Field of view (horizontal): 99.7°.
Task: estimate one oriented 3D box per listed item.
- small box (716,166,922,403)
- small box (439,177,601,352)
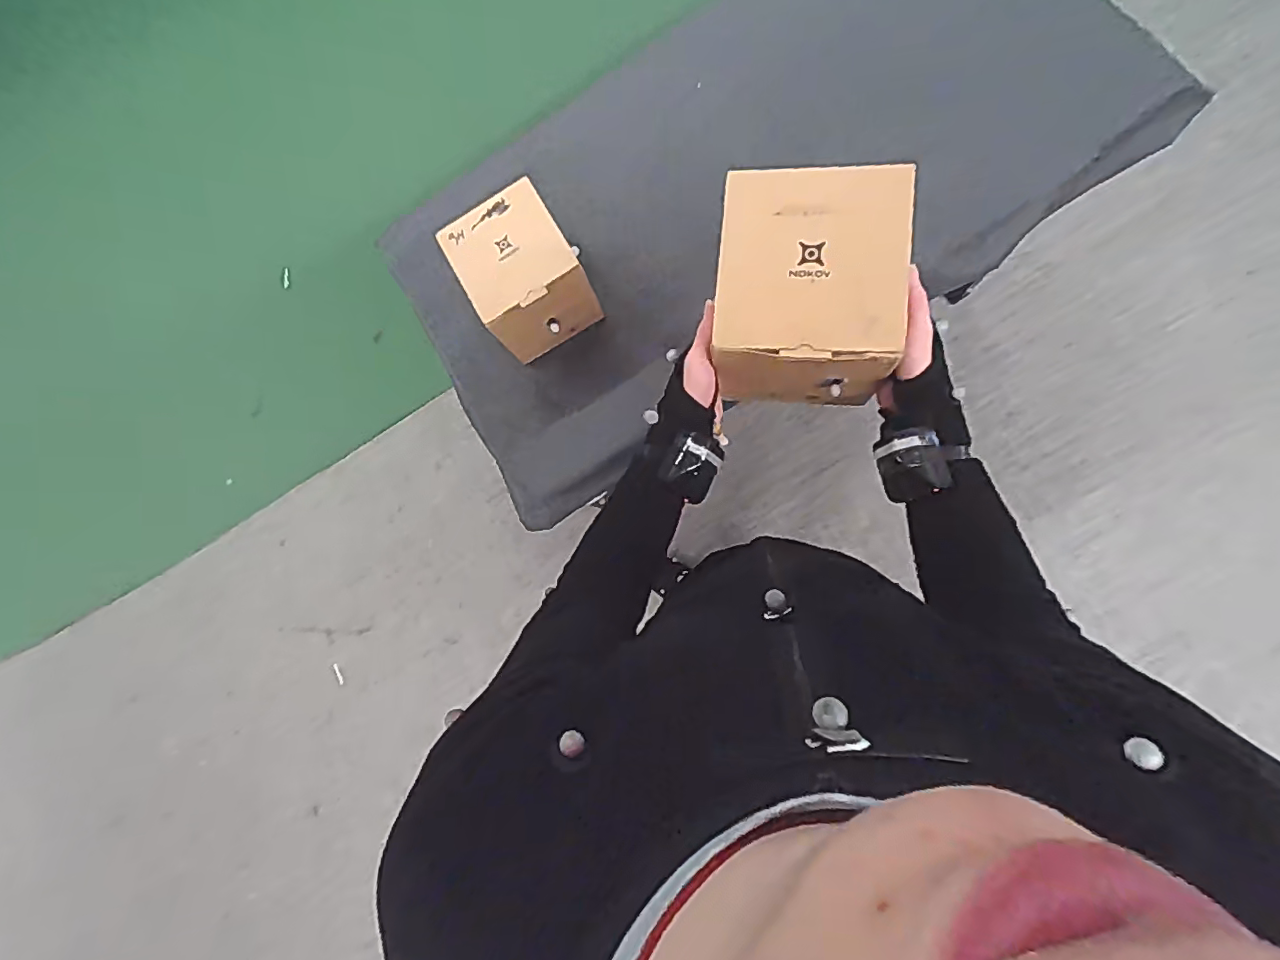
[{"bbox_3d":[0.171,-0.186,0.556,0.168,0.176,0.179,5,82,10],"label":"small box"},{"bbox_3d":[-0.180,-0.327,0.867,0.168,0.176,0.179,-30,80,3],"label":"small box"}]
